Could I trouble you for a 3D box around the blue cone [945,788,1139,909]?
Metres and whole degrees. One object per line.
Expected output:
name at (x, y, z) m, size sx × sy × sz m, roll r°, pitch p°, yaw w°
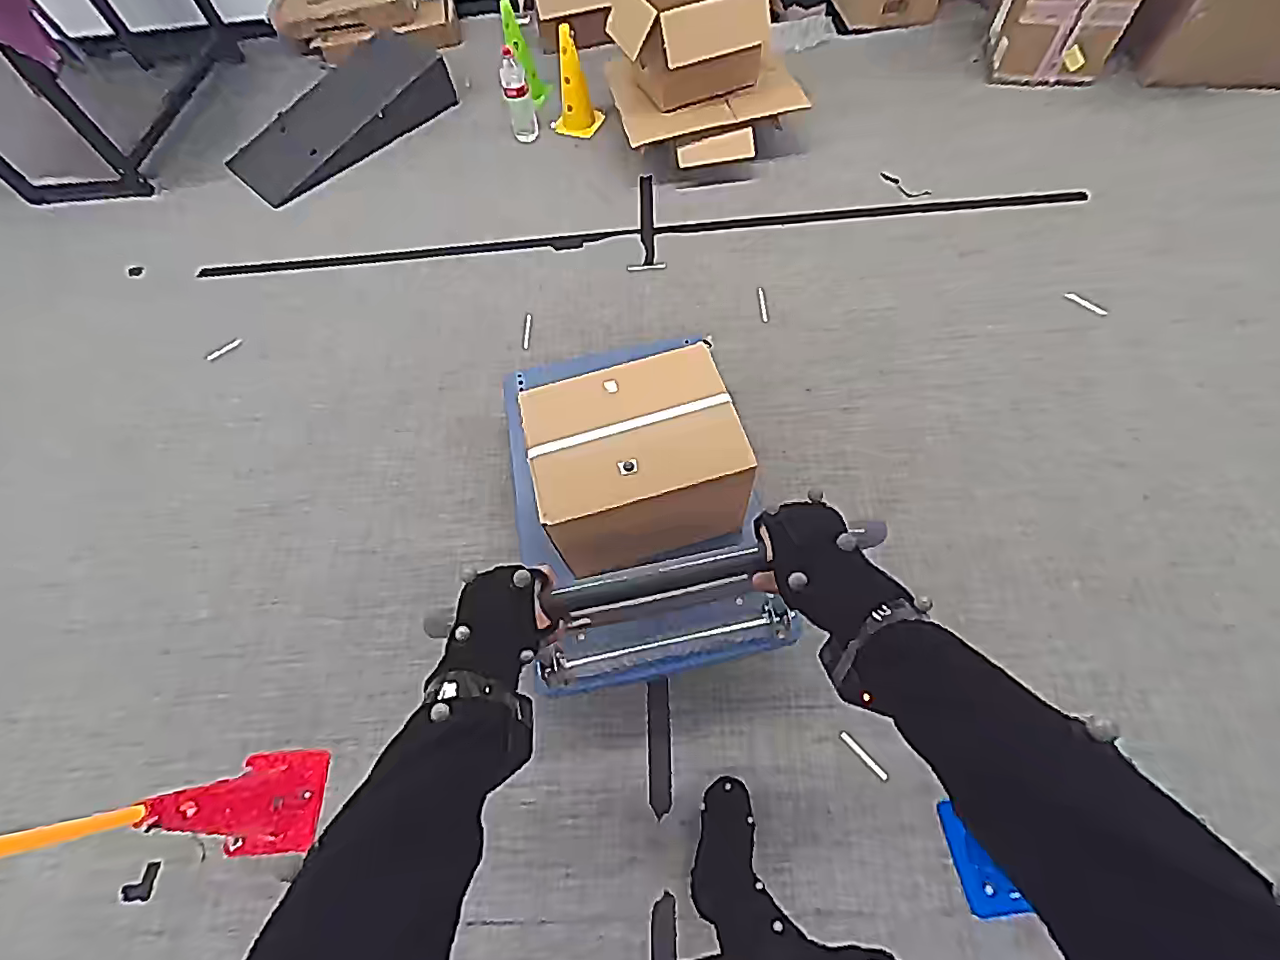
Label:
blue cone at (0.719, 0.655, 0.939) m, size 0.193 × 0.380 × 0.192 m, roll -6°, pitch 61°, yaw 1°
